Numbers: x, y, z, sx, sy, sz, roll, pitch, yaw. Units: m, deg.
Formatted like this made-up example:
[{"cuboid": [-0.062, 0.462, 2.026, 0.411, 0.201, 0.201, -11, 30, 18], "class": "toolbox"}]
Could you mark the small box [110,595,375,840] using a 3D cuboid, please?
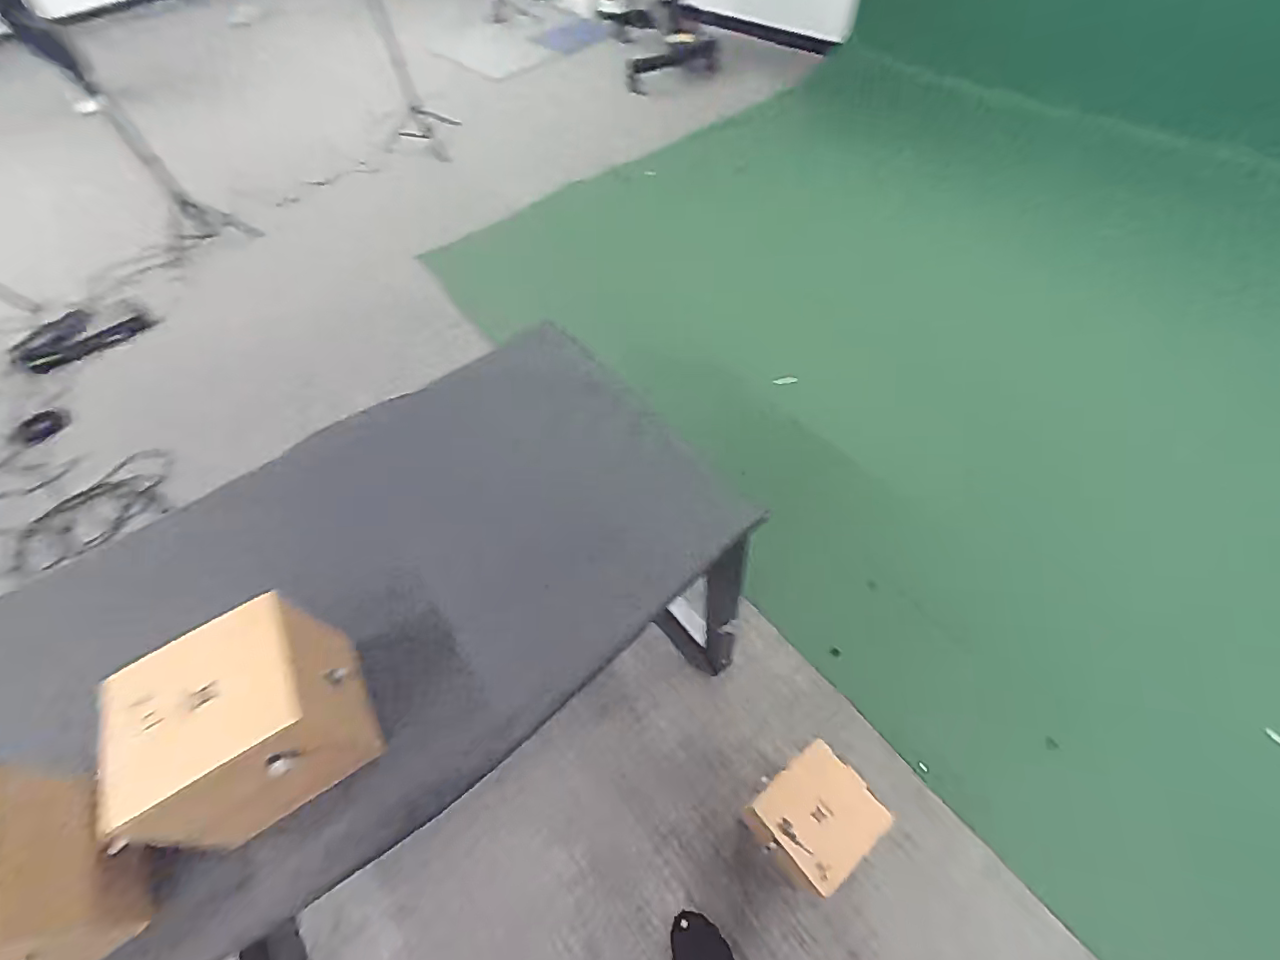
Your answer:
[{"cuboid": [-0.423, 0.266, 0.602, 0.179, 0.176, 0.168, -30, 55, -13], "class": "small box"}]

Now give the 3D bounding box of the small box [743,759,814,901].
[{"cuboid": [0.329, 0.707, 1.100, 0.168, 0.176, 0.179, -35, 57, -18], "class": "small box"}]

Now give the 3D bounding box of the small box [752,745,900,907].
[{"cuboid": [0.318, 0.611, 0.966, 0.179, 0.176, 0.168, -33, 59, -17], "class": "small box"}]
